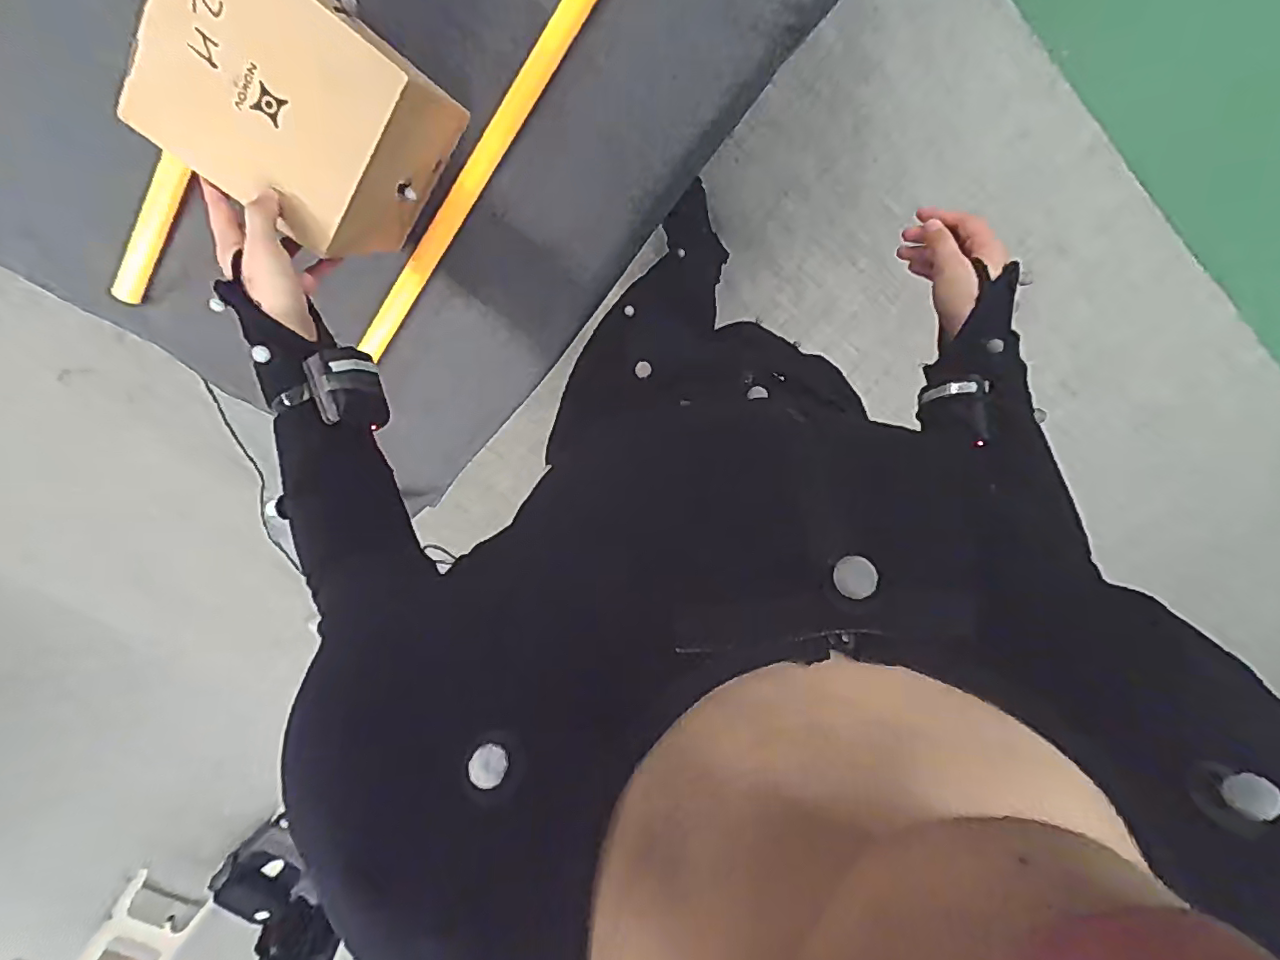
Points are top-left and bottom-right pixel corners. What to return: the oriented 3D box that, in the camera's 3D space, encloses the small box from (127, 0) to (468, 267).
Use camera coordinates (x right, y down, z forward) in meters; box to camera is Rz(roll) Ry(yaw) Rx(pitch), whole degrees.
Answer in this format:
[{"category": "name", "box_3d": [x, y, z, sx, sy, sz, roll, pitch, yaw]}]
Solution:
[{"category": "small box", "box_3d": [-0.285, -0.324, 0.491, 0.179, 0.176, 0.168, 35, 110, -15]}]
